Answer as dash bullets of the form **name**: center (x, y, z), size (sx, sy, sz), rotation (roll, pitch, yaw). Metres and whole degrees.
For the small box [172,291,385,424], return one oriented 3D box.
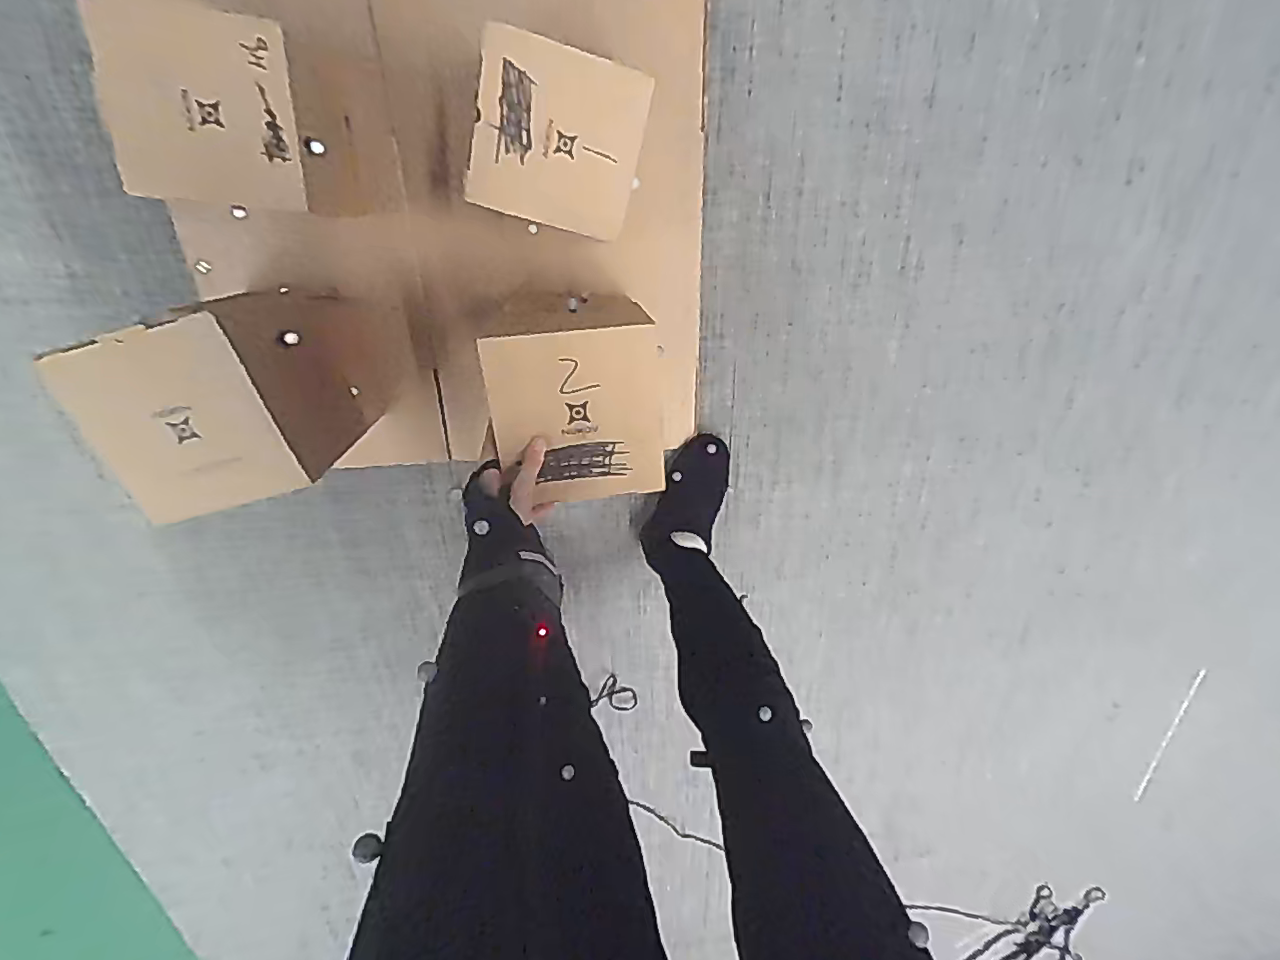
- **small box**: center (-0.453, -0.145, 0.715), size (0.168, 0.176, 0.179), rotation (1, 115, -8)

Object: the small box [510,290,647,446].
- **small box**: center (-0.084, -0.159, 0.747), size (0.168, 0.176, 0.179), rotation (0, 115, -7)

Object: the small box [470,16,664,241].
- **small box**: center (-0.088, -0.390, 0.635), size (0.179, 0.176, 0.168), rotation (11, 113, -13)

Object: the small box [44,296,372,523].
- **small box**: center (-0.417, -0.085, 0.564), size (0.168, 0.176, 0.179), rotation (-14, 116, 1)

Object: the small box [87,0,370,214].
- **small box**: center (-0.427, -0.395, 0.599), size (0.179, 0.176, 0.168), rotation (3, 114, -7)
